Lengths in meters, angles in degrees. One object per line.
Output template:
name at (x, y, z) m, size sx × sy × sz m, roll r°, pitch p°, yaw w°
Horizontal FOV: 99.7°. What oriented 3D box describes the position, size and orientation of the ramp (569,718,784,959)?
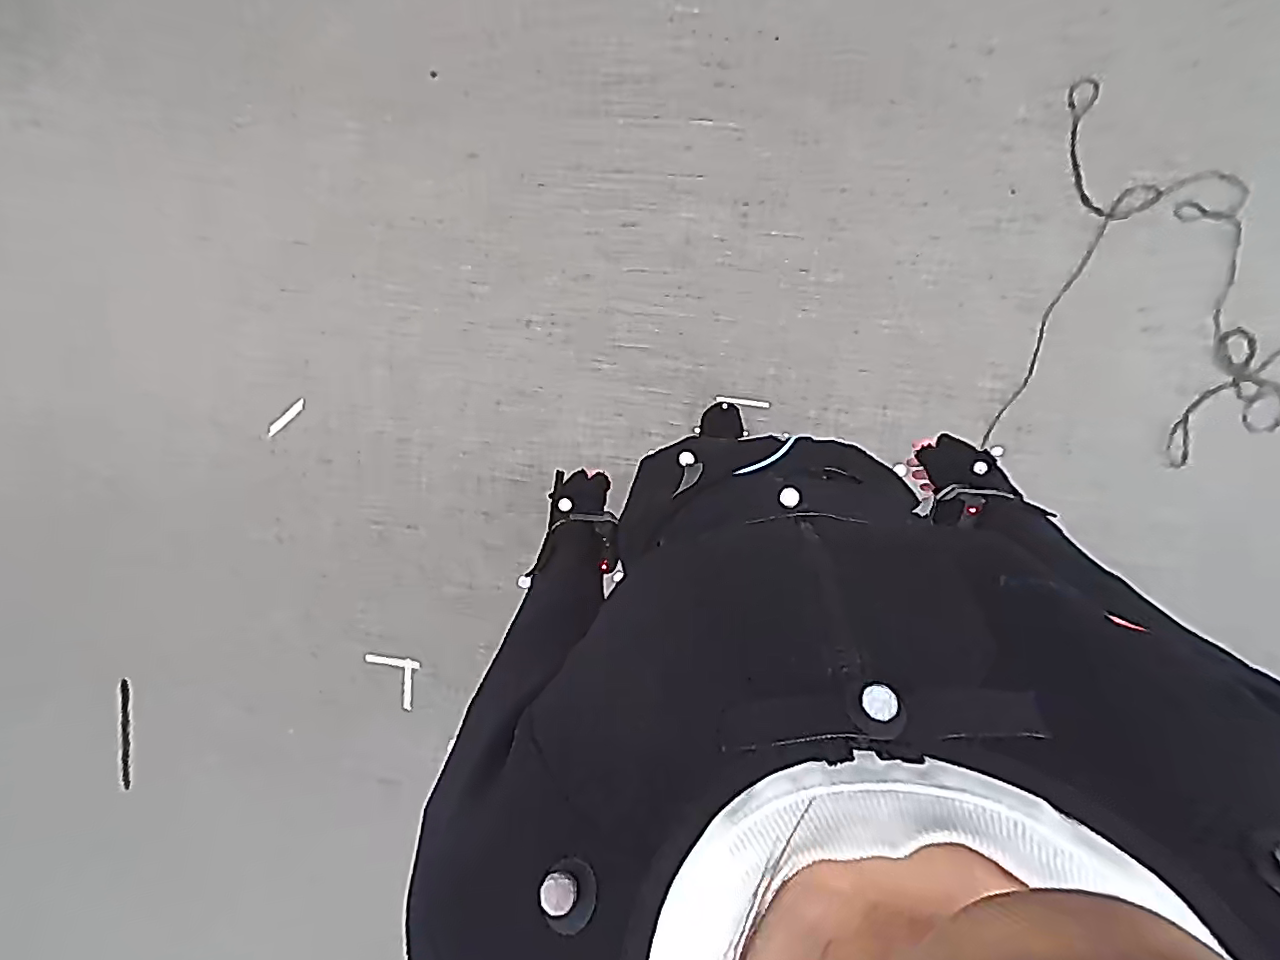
ramp at (0.069, 1.204, 1.487) m, size 0.509 × 0.206 × 0.991 m, roll 9°, pitch 96°, yaw 8°
